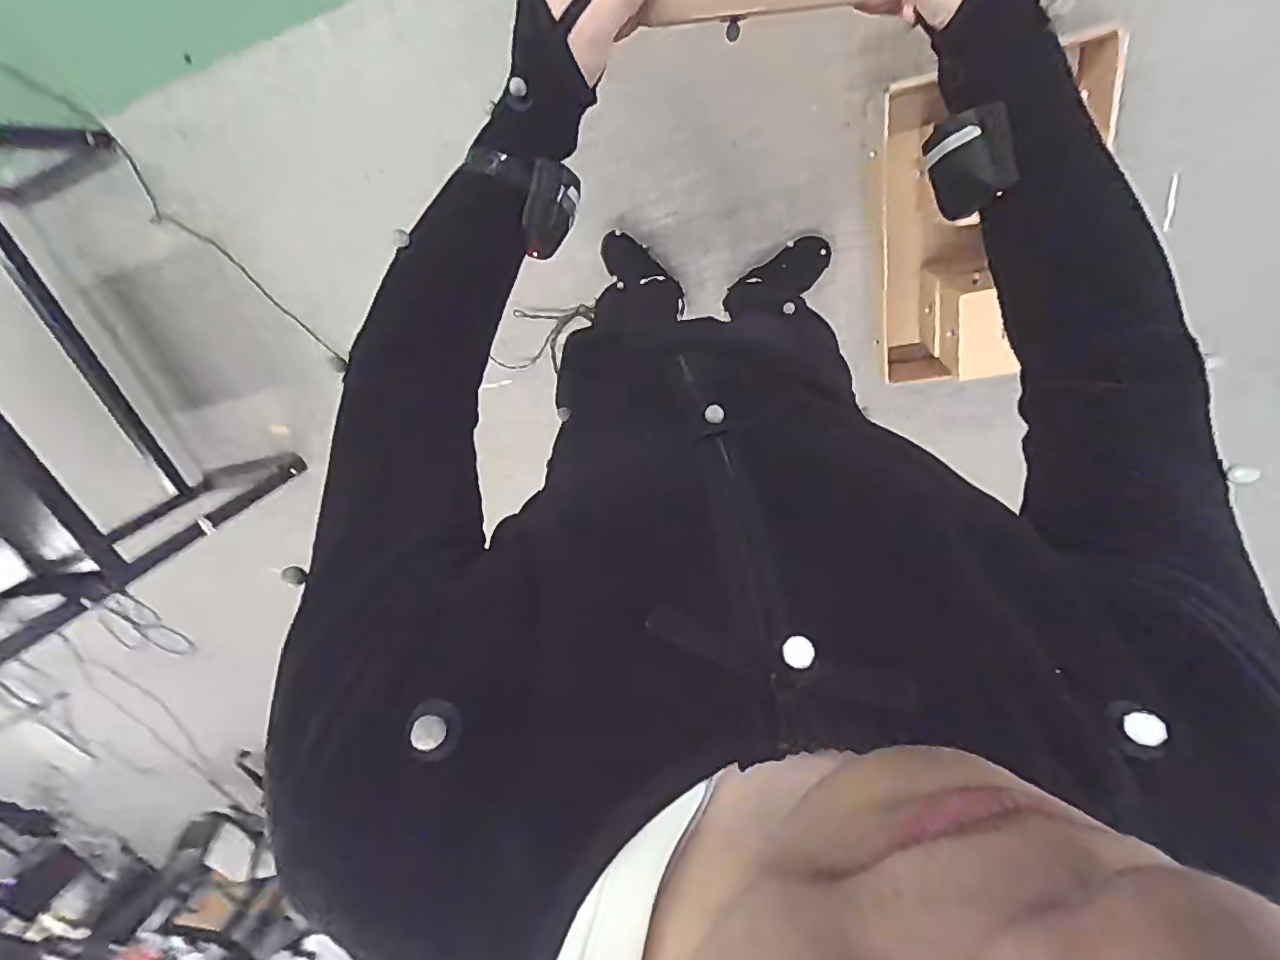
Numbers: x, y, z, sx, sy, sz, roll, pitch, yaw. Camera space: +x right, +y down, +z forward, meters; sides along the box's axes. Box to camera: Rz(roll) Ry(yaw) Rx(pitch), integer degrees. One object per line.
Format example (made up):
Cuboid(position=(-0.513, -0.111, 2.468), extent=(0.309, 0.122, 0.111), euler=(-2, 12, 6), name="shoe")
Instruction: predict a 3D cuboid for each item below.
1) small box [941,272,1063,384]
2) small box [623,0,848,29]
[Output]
Cuboid(position=(0.718, -0.313, 1.094), extent=(0.168, 0.176, 0.179), euler=(-6, 117, 19), name="small box")
Cuboid(position=(0.075, -0.470, 0.426), extent=(0.179, 0.176, 0.168), euler=(-1, 130, 6), name="small box")
